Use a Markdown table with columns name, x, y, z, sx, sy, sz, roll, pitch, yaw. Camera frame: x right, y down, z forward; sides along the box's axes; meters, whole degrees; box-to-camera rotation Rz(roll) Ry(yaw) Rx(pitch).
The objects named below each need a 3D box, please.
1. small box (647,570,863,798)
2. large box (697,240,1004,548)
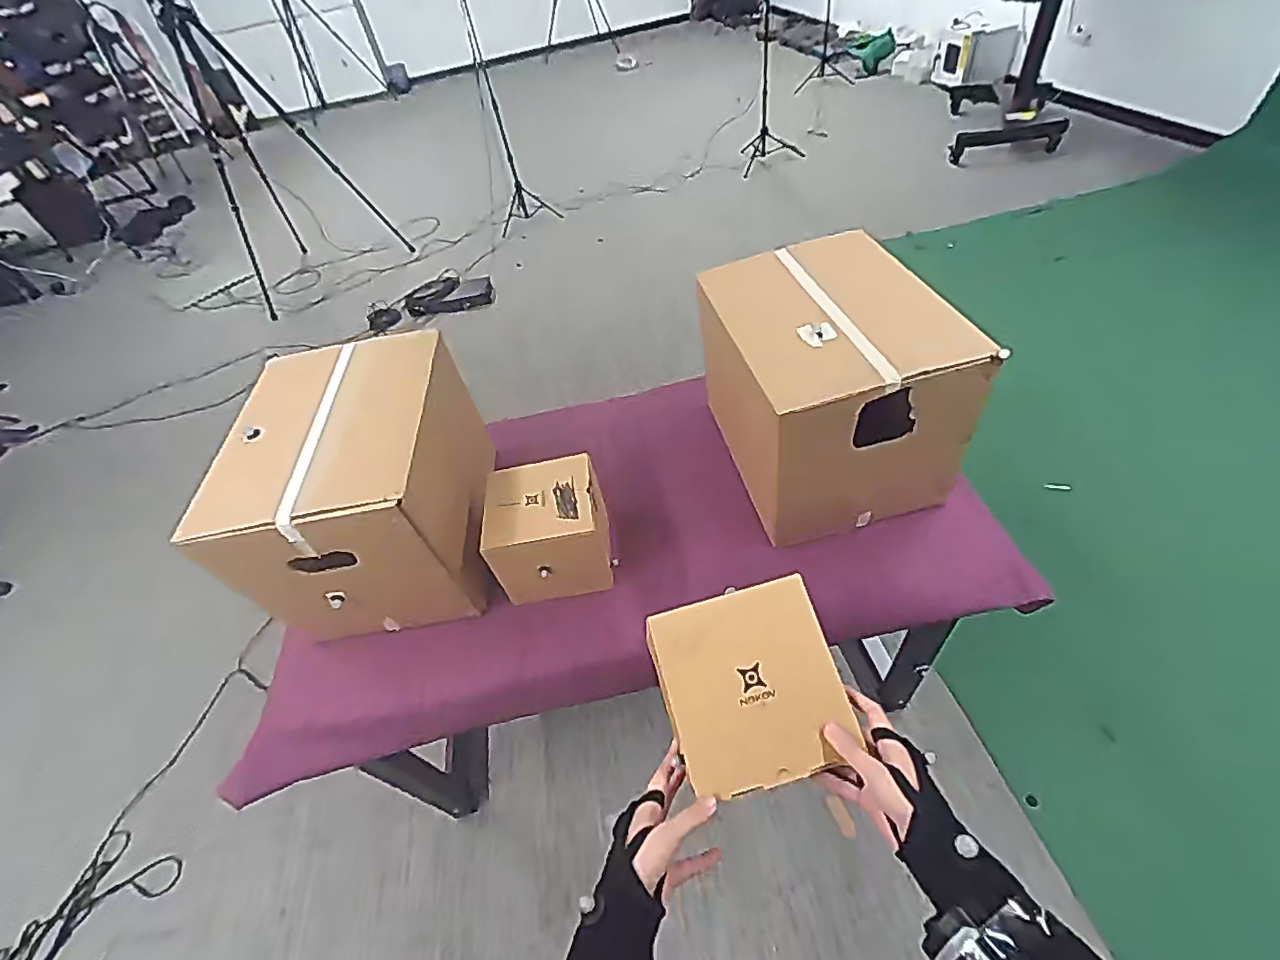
| name | x | y | z | sx | sy | sz | roll | pitch | yaw |
| --- | --- | --- | --- | --- | --- | --- | --- | --- | --- |
| small box | 0.106 | 0.218 | 0.592 | 0.168 | 0.176 | 0.179 | -15 | 69 | -5 |
| large box | 0.313 | -0.156 | 0.946 | 0.320 | 0.320 | 0.408 | -16 | 48 | 0 |
